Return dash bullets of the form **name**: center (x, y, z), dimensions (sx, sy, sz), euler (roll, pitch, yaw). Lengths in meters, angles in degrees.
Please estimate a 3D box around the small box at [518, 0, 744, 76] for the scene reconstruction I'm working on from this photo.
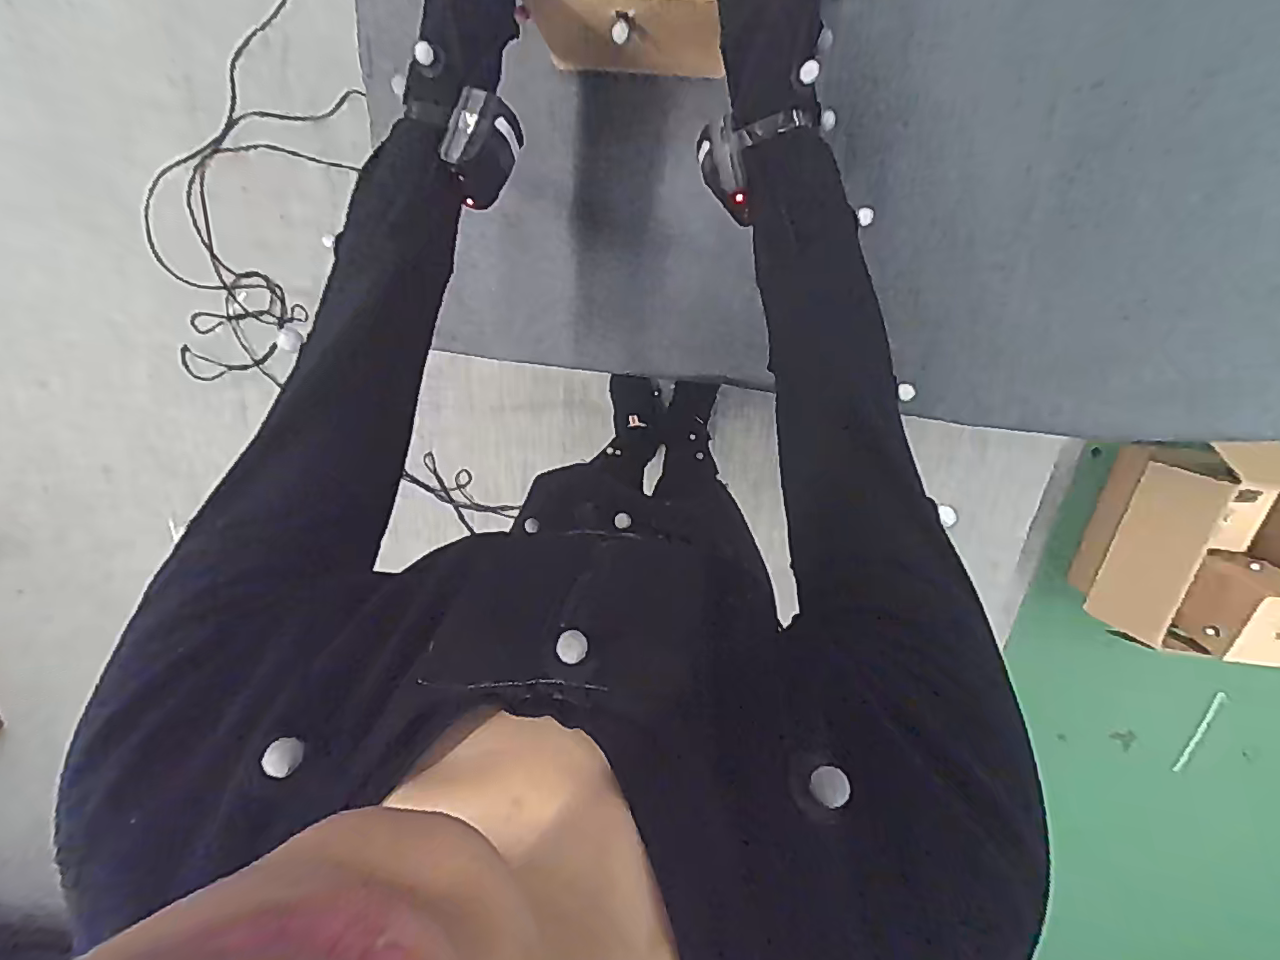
- **small box**: center (0.000, -0.460, 0.445), dimensions (0.179, 0.176, 0.168), euler (5, 111, 3)
